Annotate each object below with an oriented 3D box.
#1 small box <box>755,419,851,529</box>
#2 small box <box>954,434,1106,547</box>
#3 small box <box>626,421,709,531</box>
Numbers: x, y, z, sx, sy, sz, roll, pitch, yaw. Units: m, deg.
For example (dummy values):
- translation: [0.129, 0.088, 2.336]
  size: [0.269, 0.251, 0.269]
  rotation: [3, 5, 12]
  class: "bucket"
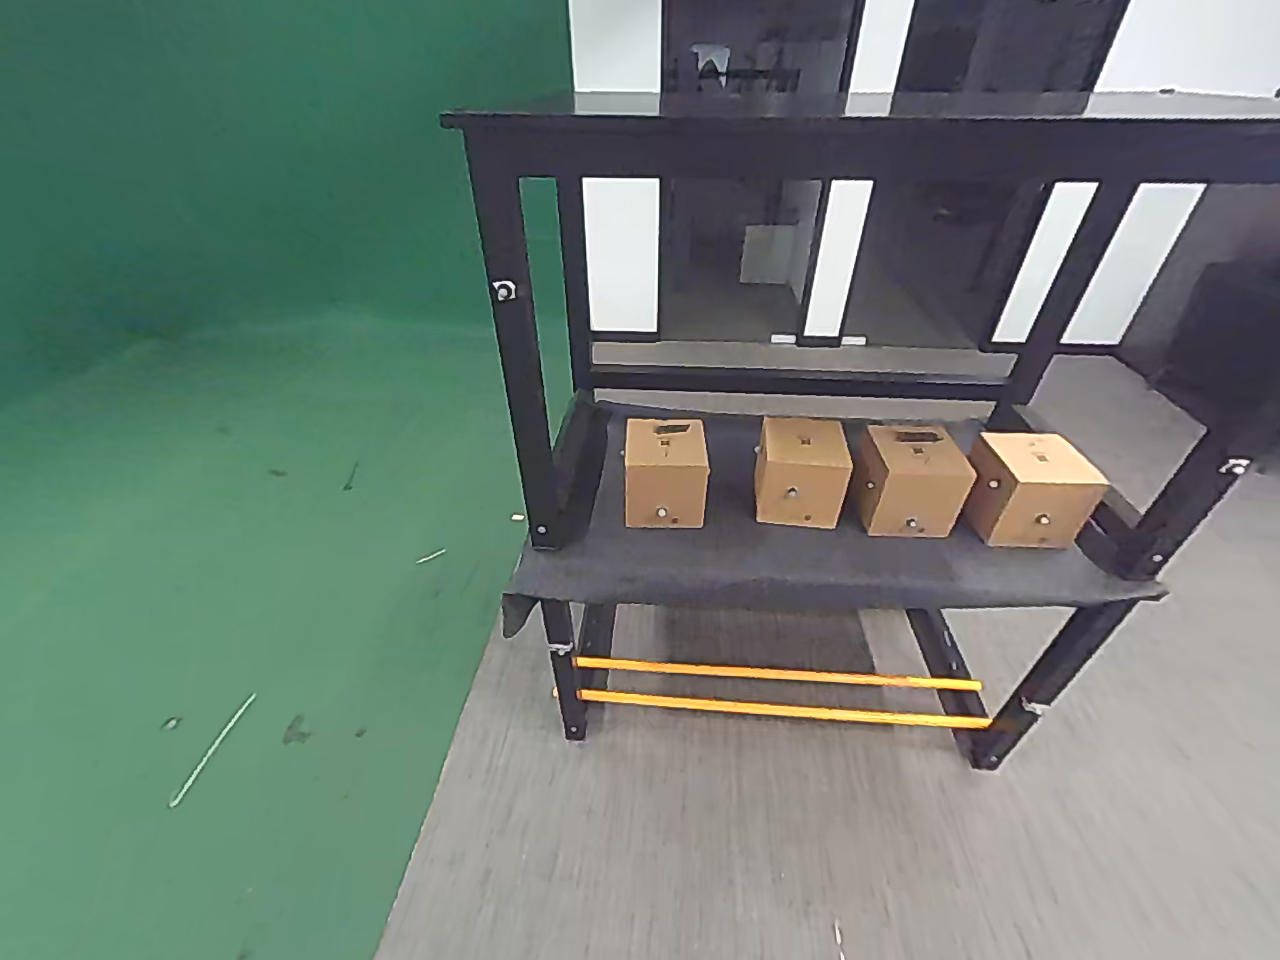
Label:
- translation: [0.343, -0.013, 1.170]
  size: [0.168, 0.176, 0.179]
  rotation: [5, 37, 6]
  class: "small box"
- translation: [0.787, 0.021, 1.114]
  size: [0.168, 0.176, 0.179]
  rotation: [2, 37, 2]
  class: "small box"
- translation: [0.054, -0.012, 1.165]
  size: [0.168, 0.176, 0.179]
  rotation: [0, 38, 1]
  class: "small box"
